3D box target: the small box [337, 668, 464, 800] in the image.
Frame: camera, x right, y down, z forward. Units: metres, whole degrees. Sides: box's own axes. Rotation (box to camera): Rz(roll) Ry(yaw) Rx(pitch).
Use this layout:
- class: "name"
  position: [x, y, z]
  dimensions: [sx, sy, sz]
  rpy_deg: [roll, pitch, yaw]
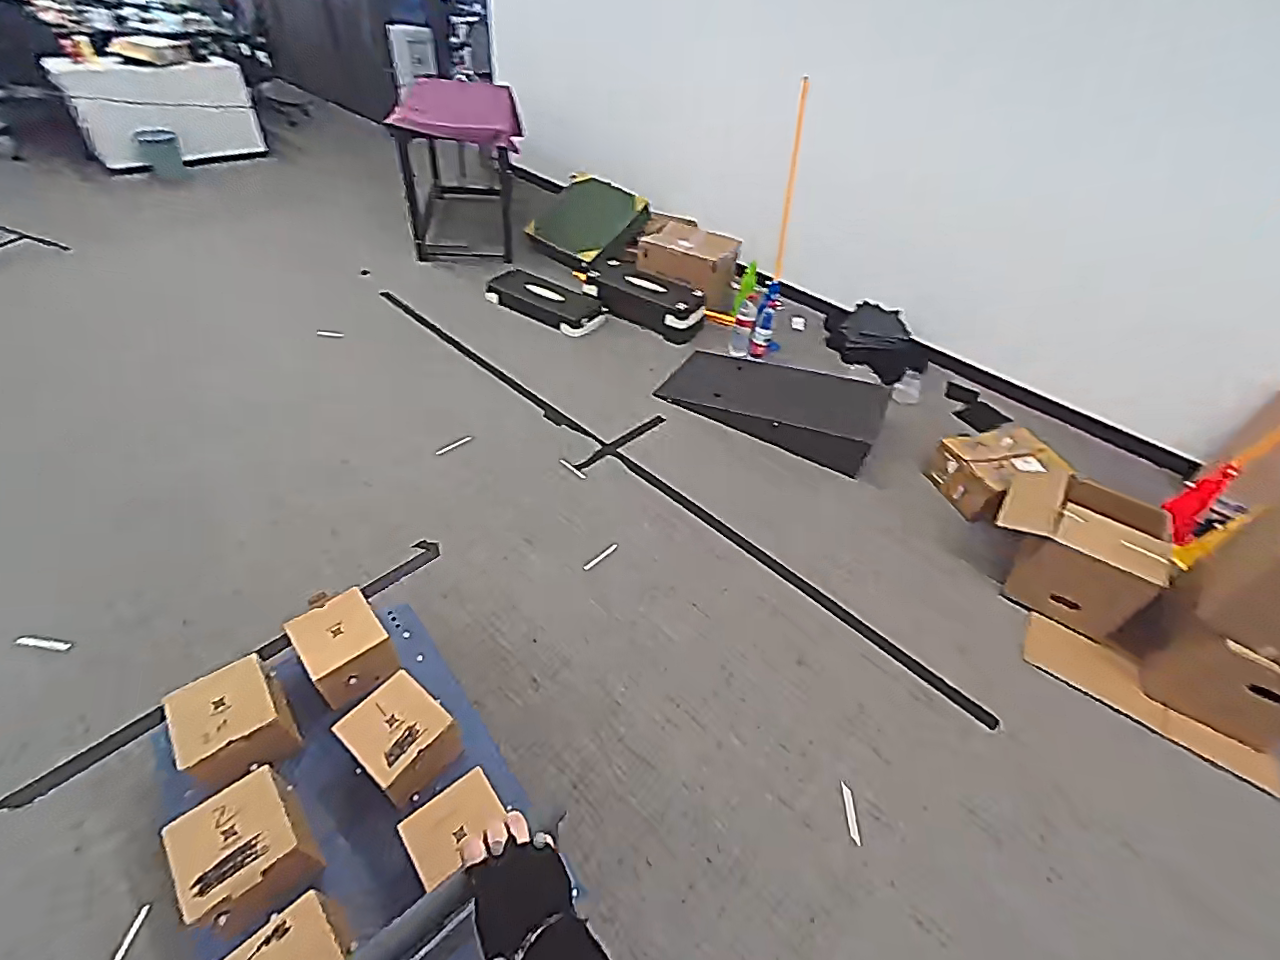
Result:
- class: "small box"
  position: [-0.499, 0.545, 1.150]
  dimensions: [0.179, 0.176, 0.168]
  rpy_deg: [32, 49, 22]

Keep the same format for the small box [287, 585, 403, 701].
- class: "small box"
  position: [-0.686, 0.391, 1.275]
  dimensions: [0.168, 0.176, 0.179]
  rpy_deg: [-31, 57, -32]

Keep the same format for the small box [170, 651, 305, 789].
- class: "small box"
  position: [-0.838, 0.505, 1.136]
  dimensions: [0.168, 0.176, 0.179]
  rpy_deg: [-26, 55, -30]

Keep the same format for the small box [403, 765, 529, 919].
- class: "small box"
  position: [-0.323, 0.693, 1.032]
  dimensions: [0.168, 0.176, 0.179]
  rpy_deg: [-27, 55, -31]

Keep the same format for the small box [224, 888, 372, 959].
- class: "small box"
  position: [-0.546, 0.815, 0.875]
  dimensions: [0.168, 0.176, 0.179]
  rpy_deg: [-30, 57, -34]
